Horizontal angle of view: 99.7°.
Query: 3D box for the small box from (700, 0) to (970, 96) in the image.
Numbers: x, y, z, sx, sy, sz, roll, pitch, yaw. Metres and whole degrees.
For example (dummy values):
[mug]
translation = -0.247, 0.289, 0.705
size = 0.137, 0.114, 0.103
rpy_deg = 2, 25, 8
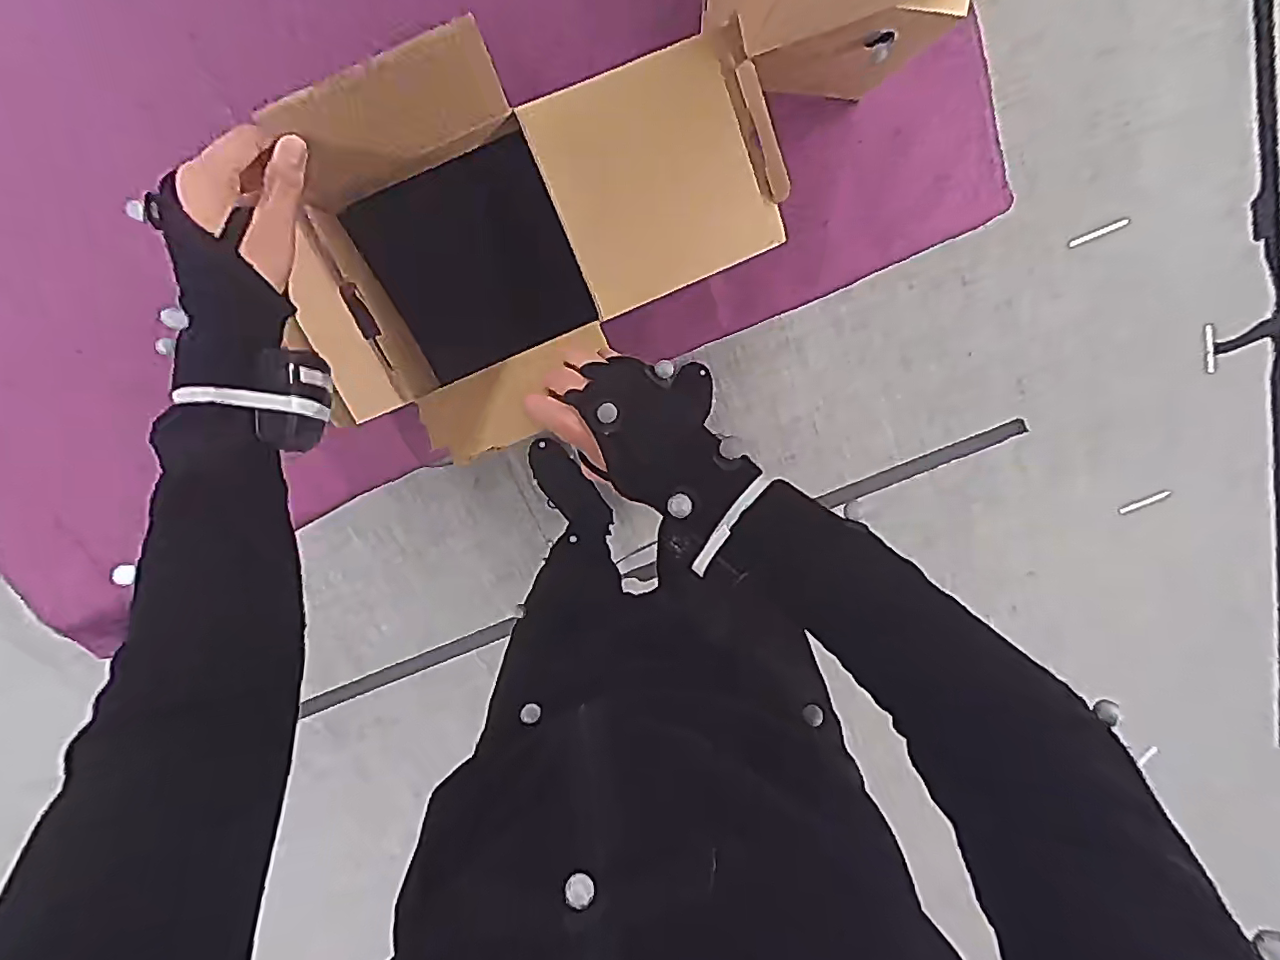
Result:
[small box]
translation = 0.157, -0.447, 0.448
size = 0.179, 0.176, 0.168
rpy_deg = 2, 107, -5
